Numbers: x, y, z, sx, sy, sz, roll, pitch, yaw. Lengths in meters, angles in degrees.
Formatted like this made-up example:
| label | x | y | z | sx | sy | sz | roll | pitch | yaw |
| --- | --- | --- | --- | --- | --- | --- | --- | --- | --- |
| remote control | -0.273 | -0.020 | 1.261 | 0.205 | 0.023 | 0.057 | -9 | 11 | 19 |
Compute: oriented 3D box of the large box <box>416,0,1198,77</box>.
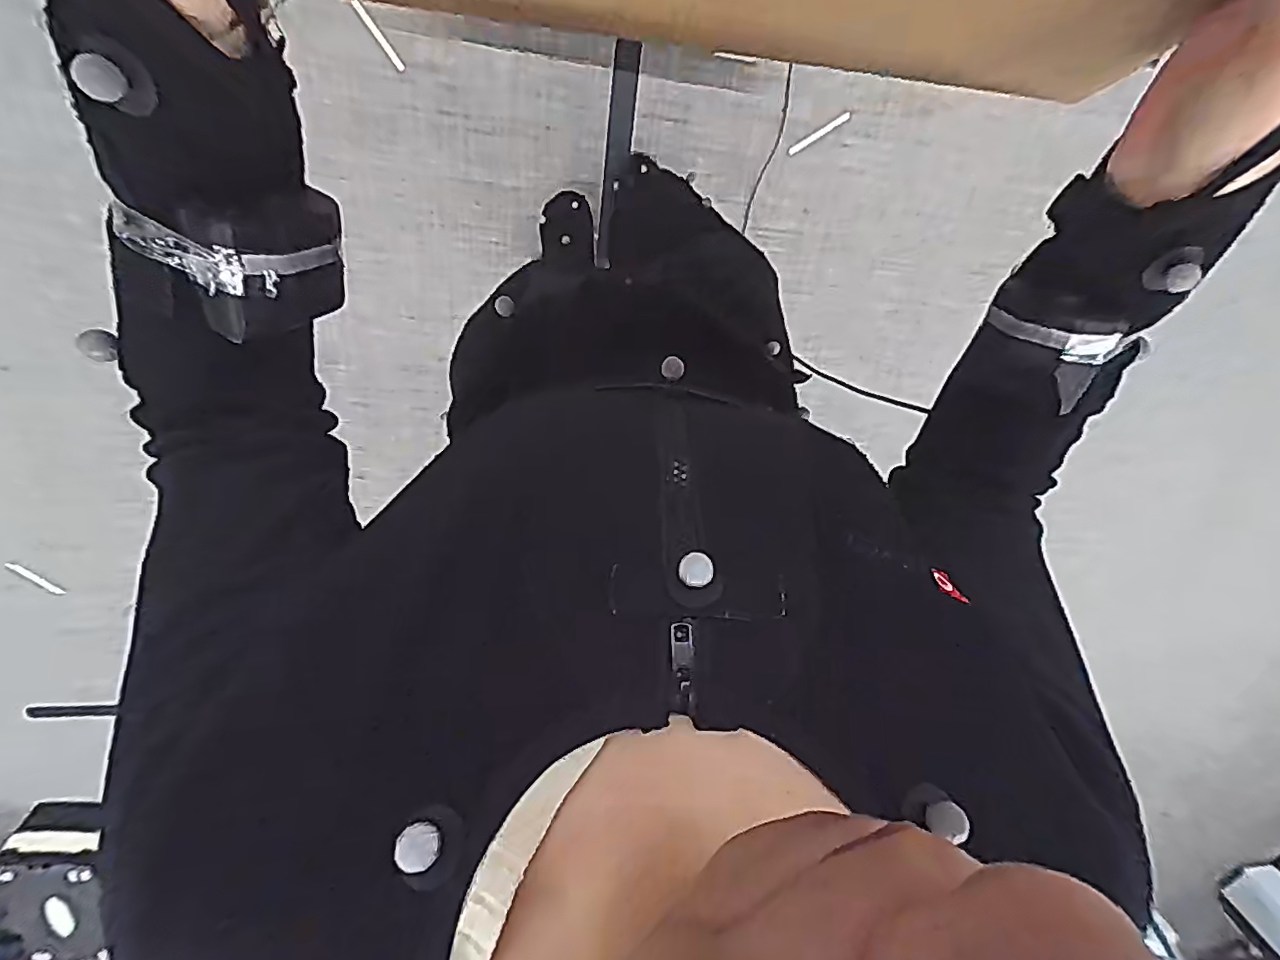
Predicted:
| label | x | y | z | sx | sy | sz | roll | pitch | yaw |
| --- | --- | --- | --- | --- | --- | --- | --- | --- | --- |
| large box | 0.073 | -0.362 | 0.120 | 0.408 | 0.320 | 0.320 | 1 | 100 | -7 |
